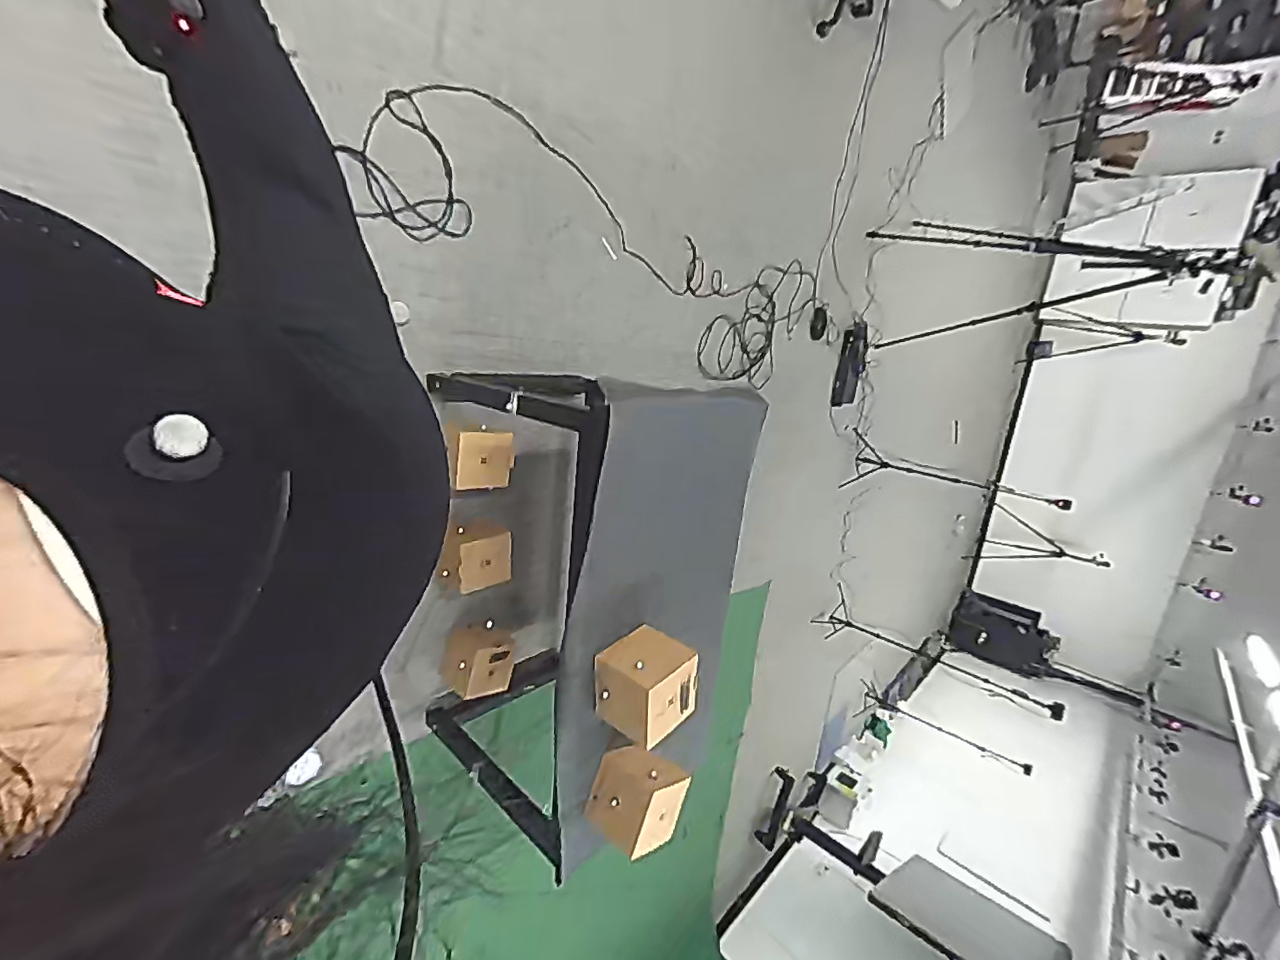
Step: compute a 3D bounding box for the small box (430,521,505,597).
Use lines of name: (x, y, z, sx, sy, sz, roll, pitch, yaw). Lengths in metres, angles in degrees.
small box: (-0.542, 0.241, 1.691, 0.179, 0.176, 0.168, -13, 114, -47)

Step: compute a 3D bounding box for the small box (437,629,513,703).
small box: (-0.556, 0.610, 1.809, 0.168, 0.176, 0.179, 9, 98, -50)

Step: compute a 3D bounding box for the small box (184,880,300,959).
small box: (-1.068, 1.228, 1.452, 0.168, 0.176, 0.179, -44, 133, -30)

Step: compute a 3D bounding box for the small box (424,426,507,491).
small box: (-0.521, -0.066, 1.607, 0.179, 0.176, 0.168, -4, 106, -49)

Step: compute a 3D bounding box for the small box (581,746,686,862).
small box: (-0.018, 0.796, 1.349, 0.179, 0.176, 0.168, 22, 87, -53)
